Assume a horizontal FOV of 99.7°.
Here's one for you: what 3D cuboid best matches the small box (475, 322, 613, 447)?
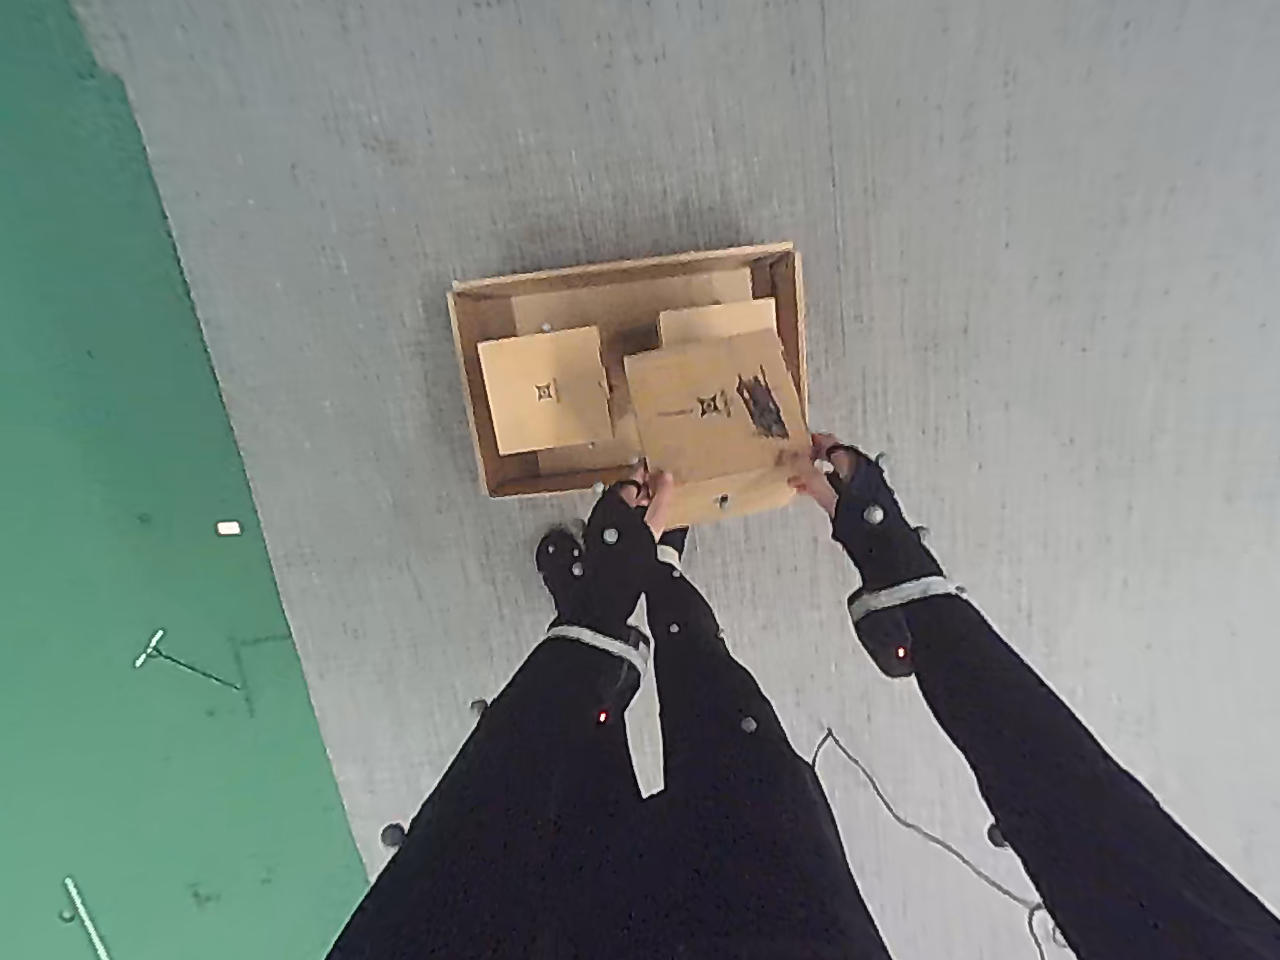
[{"bbox_3d":[-0.143,-0.153,0.871,0.179,0.176,0.168,-8,103,0],"label":"small box"}]

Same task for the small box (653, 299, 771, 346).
[{"bbox_3d":[0.110,-0.186,0.864,0.168,0.176,0.179,-6,102,1],"label":"small box"}]

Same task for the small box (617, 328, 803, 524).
[{"bbox_3d":[0.076,-0.056,0.660,0.179,0.176,0.168,-11,69,0],"label":"small box"}]
